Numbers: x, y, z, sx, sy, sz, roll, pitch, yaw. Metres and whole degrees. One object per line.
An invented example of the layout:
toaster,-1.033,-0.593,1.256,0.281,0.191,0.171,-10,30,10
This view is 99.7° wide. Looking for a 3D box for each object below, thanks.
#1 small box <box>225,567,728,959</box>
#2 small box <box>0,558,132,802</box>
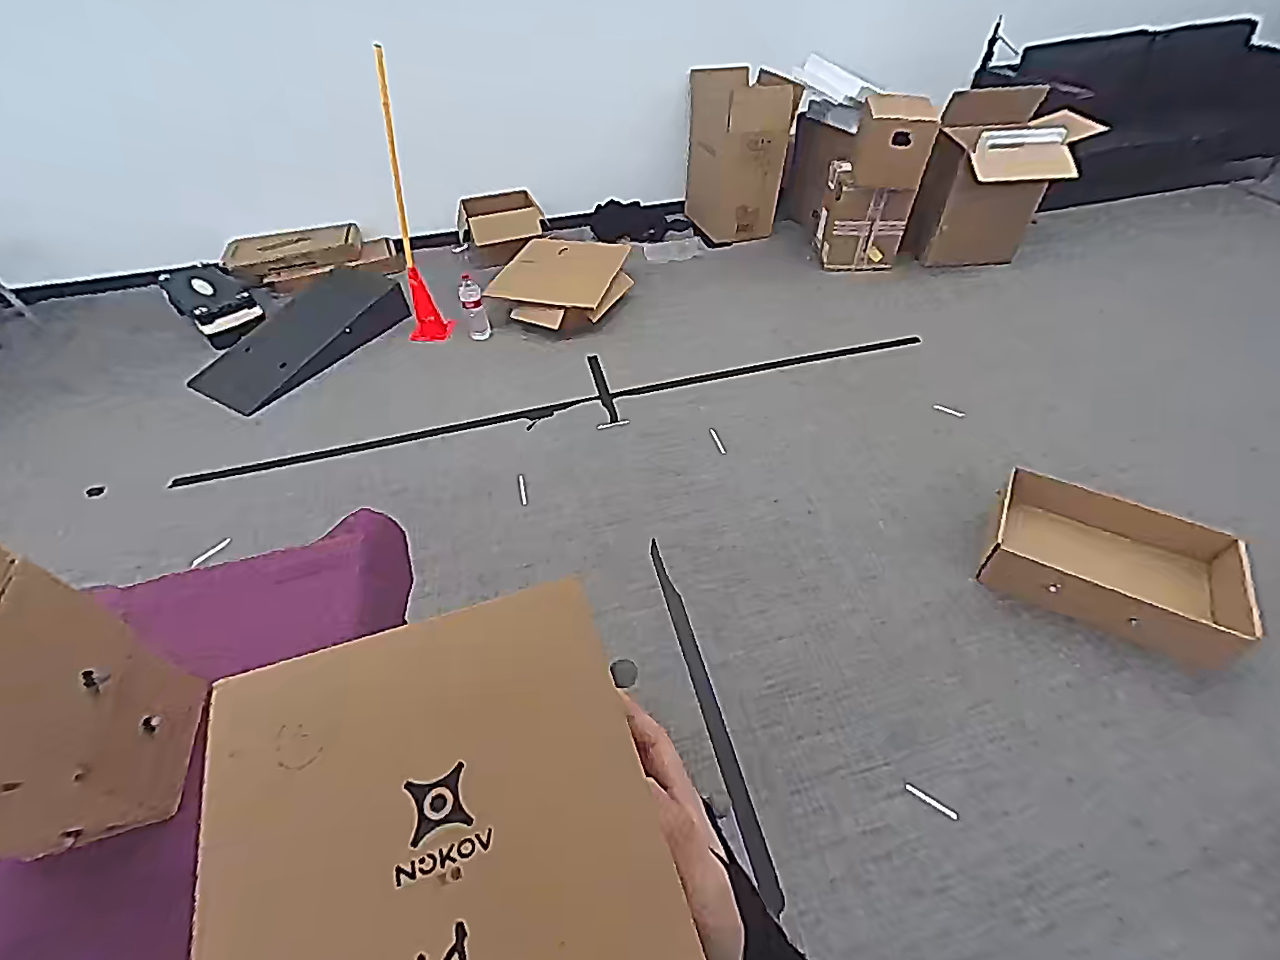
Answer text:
small box,-0.077,0.176,0.280,0.168,0.176,0.179,-15,58,-14
small box,-0.683,0.215,0.554,0.168,0.176,0.179,-16,48,-12
